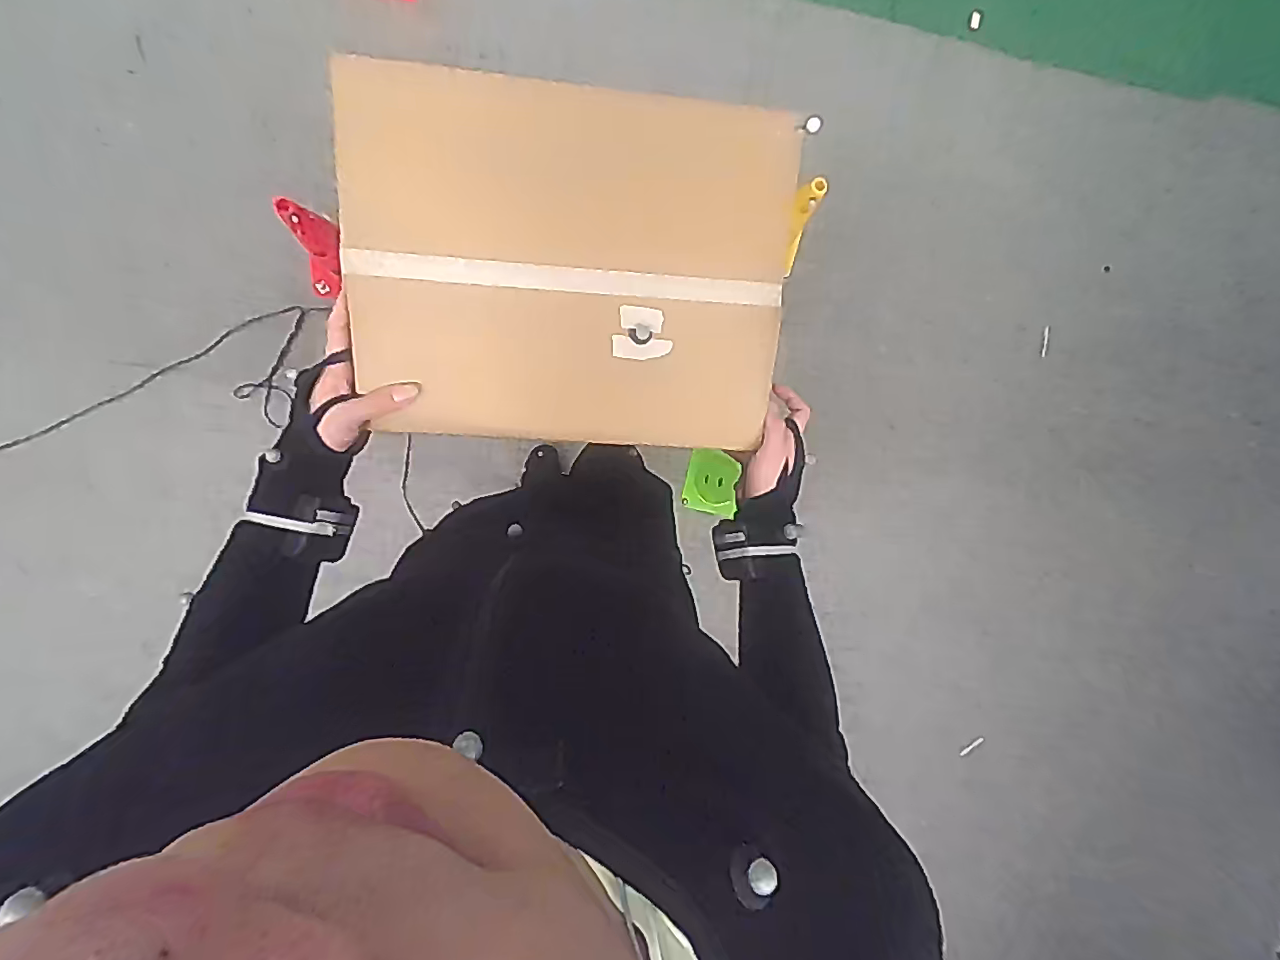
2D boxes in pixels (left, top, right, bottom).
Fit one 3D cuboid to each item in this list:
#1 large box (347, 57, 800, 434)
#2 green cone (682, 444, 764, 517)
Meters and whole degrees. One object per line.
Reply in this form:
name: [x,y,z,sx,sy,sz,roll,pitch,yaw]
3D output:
large box: [-0.075,-0.242,0.655,0.408,0.320,0.320,2,107,-7]
green cone: [0.266,0.010,1.515,0.200,0.368,0.202,12,91,-9]
